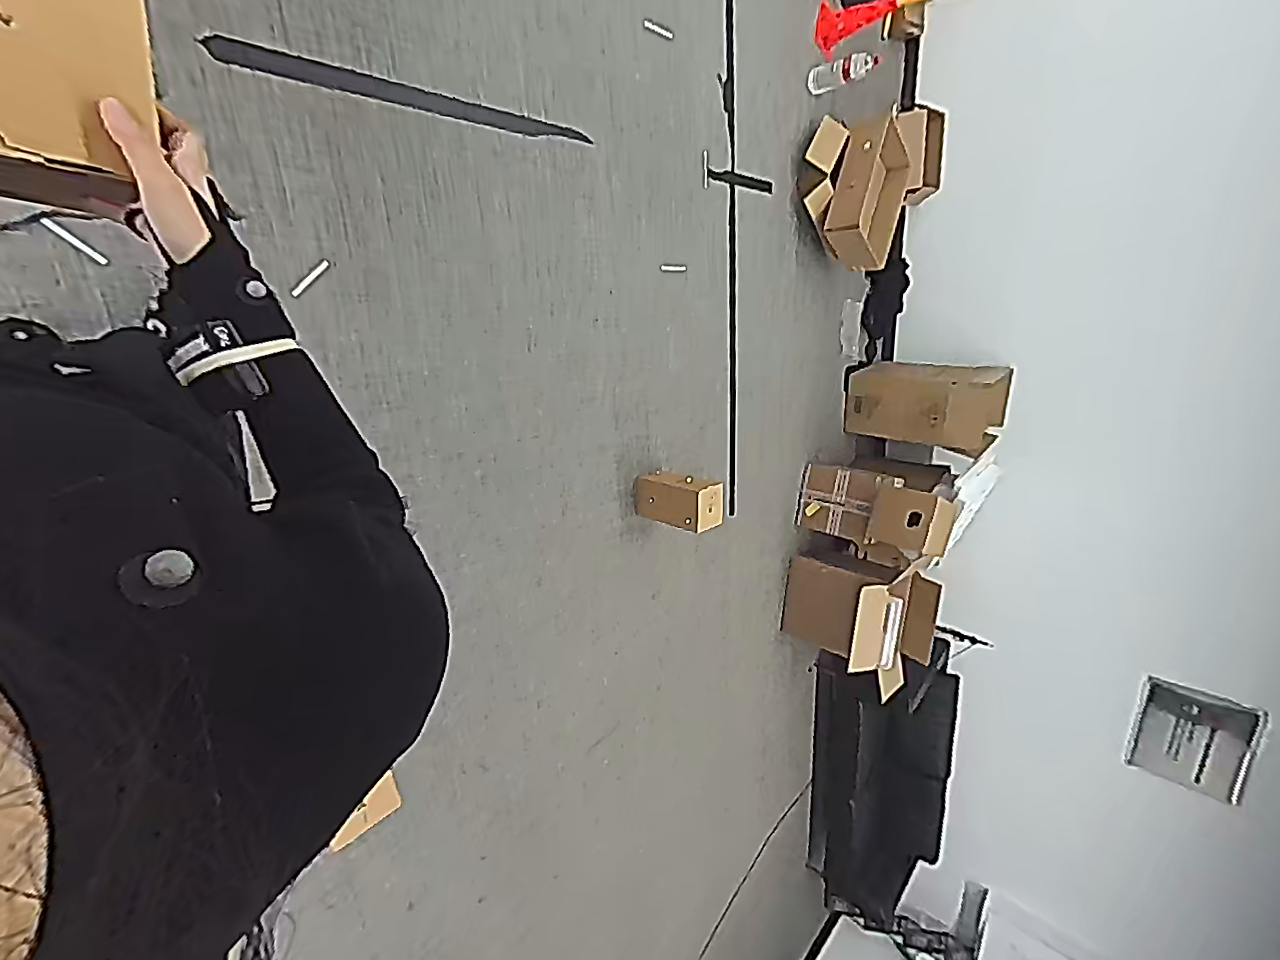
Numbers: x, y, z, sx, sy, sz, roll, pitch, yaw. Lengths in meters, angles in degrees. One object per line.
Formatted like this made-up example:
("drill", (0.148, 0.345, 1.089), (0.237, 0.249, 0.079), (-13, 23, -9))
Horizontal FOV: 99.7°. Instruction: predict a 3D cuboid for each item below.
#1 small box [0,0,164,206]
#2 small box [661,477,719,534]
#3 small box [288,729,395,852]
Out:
("small box", (-0.448, -0.298, 0.350), (0.168, 0.176, 0.179), (-14, 111, -53))
("small box", (0.199, 0.098, 2.182), (0.168, 0.176, 0.179), (-15, 111, -45))
("small box", (-0.738, 0.750, 1.336), (0.168, 0.176, 0.179), (-24, 118, -41))
